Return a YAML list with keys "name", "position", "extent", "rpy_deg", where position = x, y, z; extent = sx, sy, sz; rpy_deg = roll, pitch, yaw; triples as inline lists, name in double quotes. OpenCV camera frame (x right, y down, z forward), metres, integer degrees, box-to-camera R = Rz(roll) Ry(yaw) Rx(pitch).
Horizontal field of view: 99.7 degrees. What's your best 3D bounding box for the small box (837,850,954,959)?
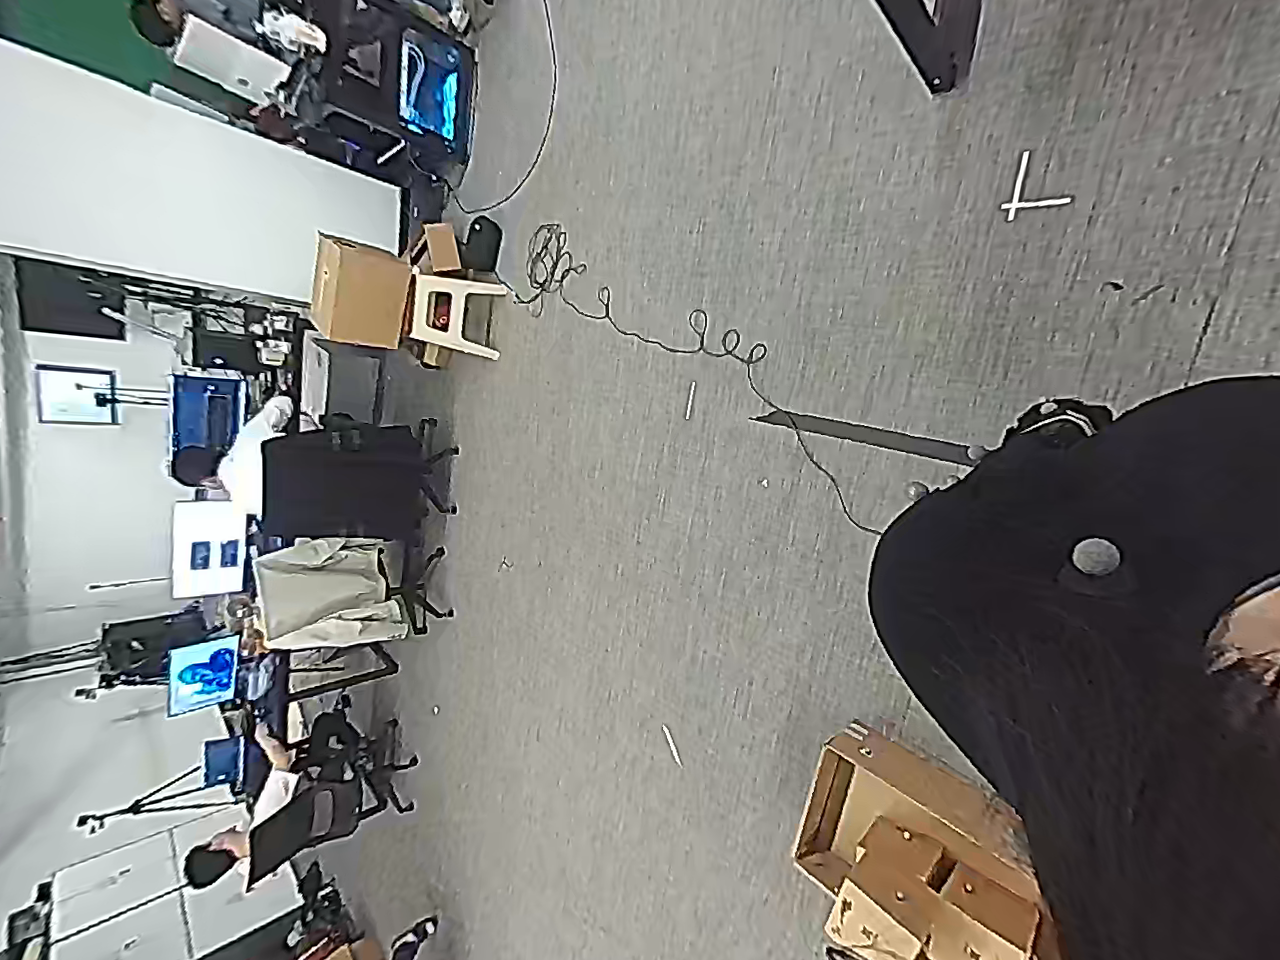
- name: "small box"
  position: [0.591, 1.010, 1.243]
  extent: [0.179, 0.176, 0.168]
  rpy_deg: [25, 107, 40]
